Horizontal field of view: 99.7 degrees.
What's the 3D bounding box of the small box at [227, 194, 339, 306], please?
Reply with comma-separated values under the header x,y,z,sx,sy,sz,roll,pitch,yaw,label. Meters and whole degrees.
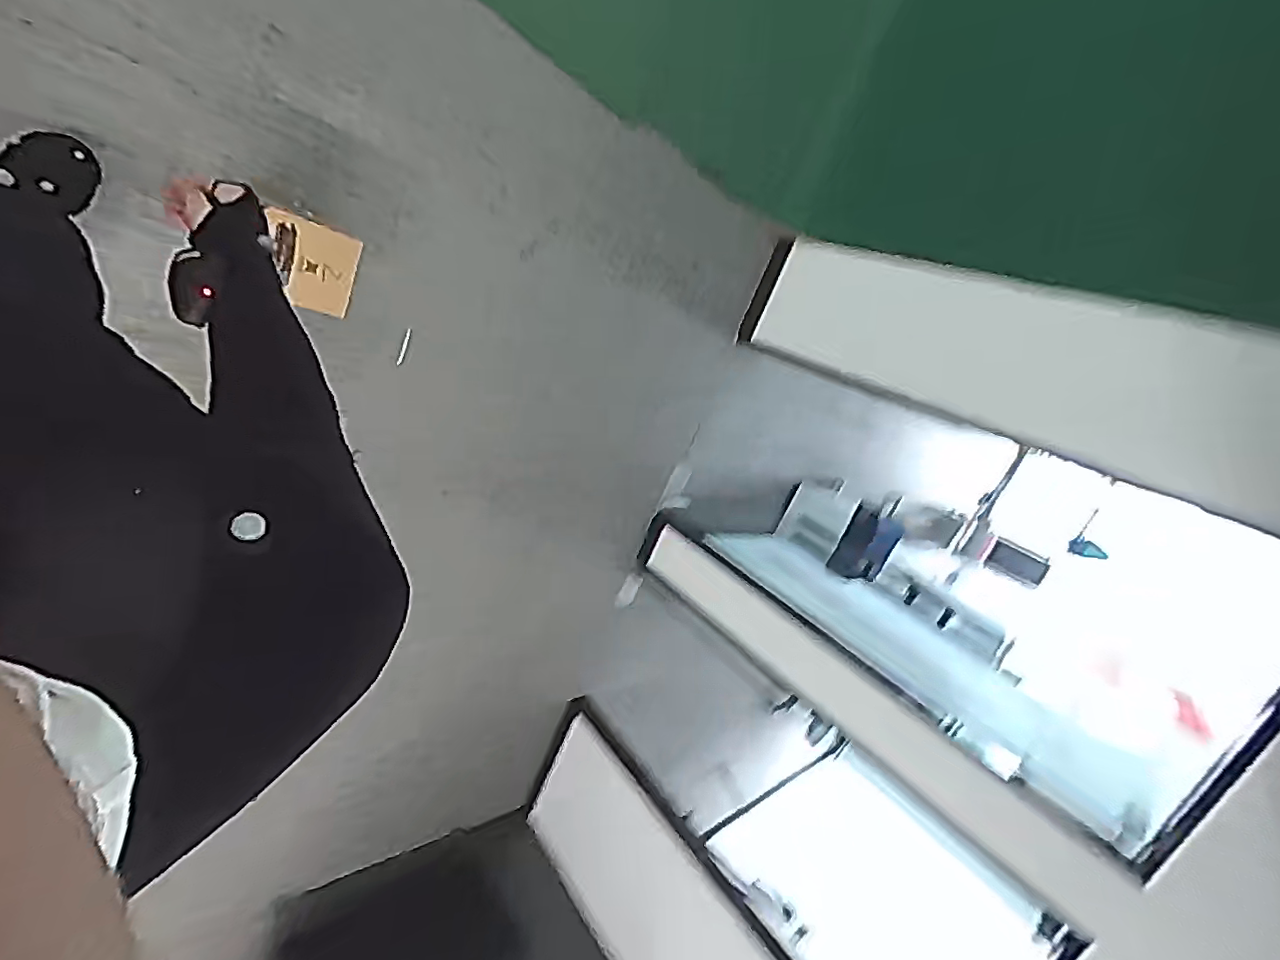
x,y,z,sx,sy,sz,roll,pitch,yaw,label
-0.818,-0.526,1.232,0.168,0.176,0.179,9,110,-47,small box
